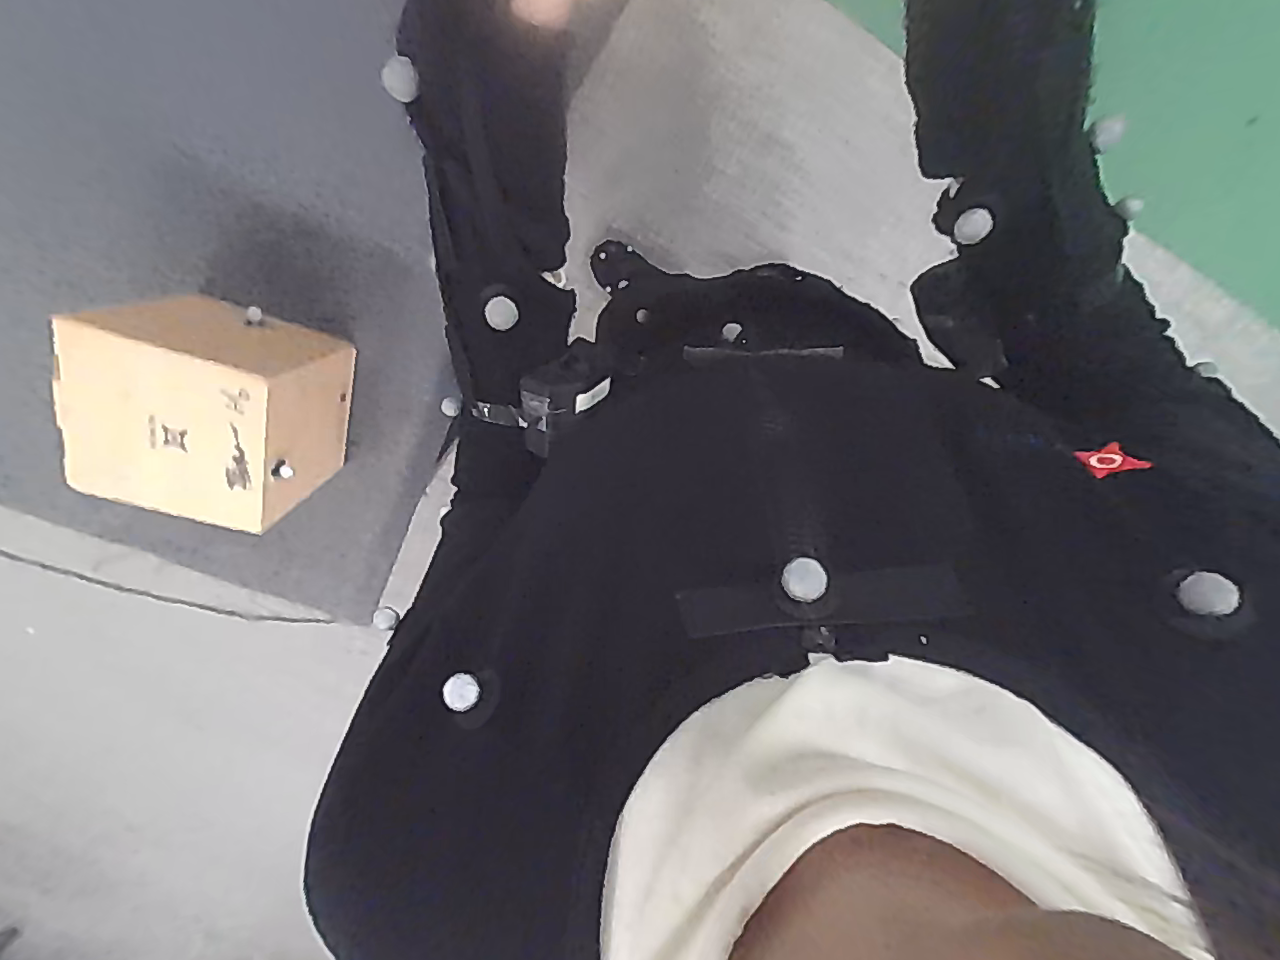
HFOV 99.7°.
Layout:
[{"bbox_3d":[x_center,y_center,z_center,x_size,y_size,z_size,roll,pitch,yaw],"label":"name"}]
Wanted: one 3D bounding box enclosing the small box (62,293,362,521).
[{"bbox_3d":[-0.426,-0.086,0.567,0.179,0.176,0.168,17,115,-7],"label":"small box"}]
